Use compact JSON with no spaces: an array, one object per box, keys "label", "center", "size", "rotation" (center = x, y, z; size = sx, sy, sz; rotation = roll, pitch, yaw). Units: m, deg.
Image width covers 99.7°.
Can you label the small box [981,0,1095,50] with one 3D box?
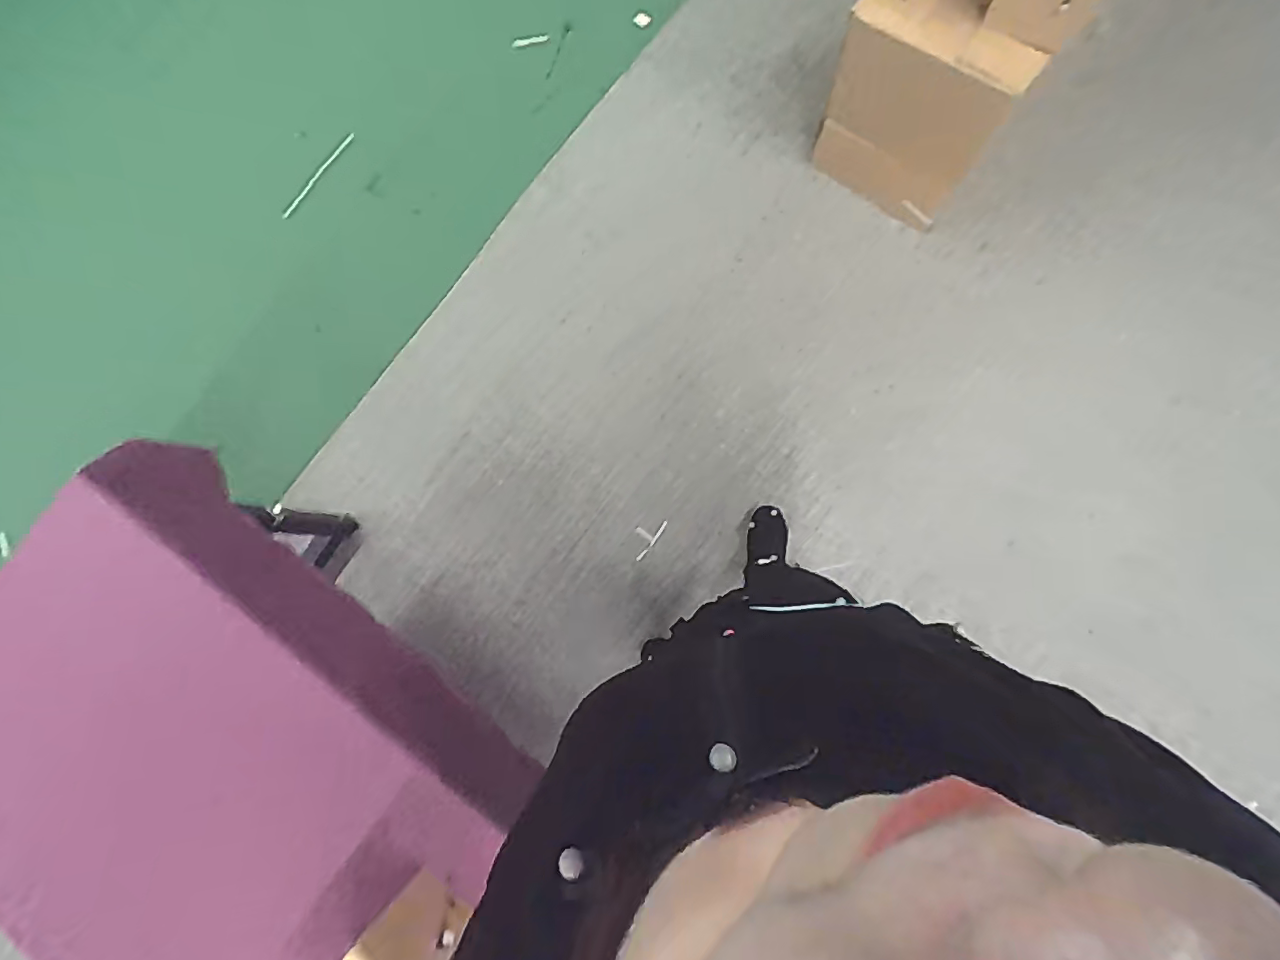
[{"label":"small box","center":[0.824,-0.998,1.056],"size":[0.179,0.176,0.168],"rotation":[36,86,11]}]
